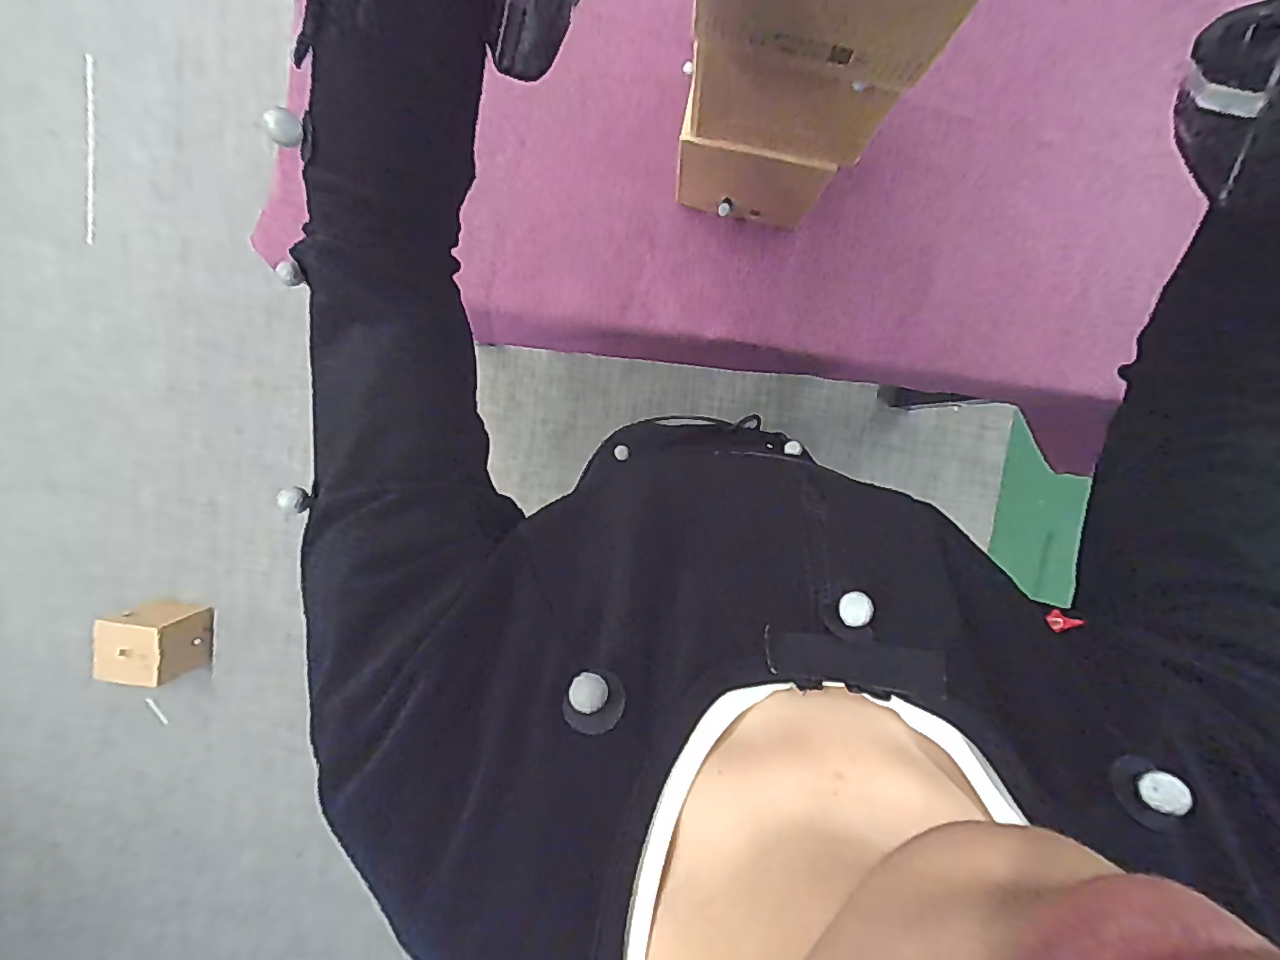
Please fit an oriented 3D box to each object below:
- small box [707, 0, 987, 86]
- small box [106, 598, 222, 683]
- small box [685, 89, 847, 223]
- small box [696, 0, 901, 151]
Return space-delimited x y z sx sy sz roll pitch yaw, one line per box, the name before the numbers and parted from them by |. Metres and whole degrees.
small box | 0.138 -0.370 0.294 0.168 0.176 0.179 14 96 1
small box | -1.306 0.434 1.490 0.179 0.176 0.168 7 97 1
small box | 0.148 -0.425 0.615 0.168 0.176 0.179 13 97 2
small box | 0.148 -0.410 0.454 0.179 0.176 0.168 11 96 1
